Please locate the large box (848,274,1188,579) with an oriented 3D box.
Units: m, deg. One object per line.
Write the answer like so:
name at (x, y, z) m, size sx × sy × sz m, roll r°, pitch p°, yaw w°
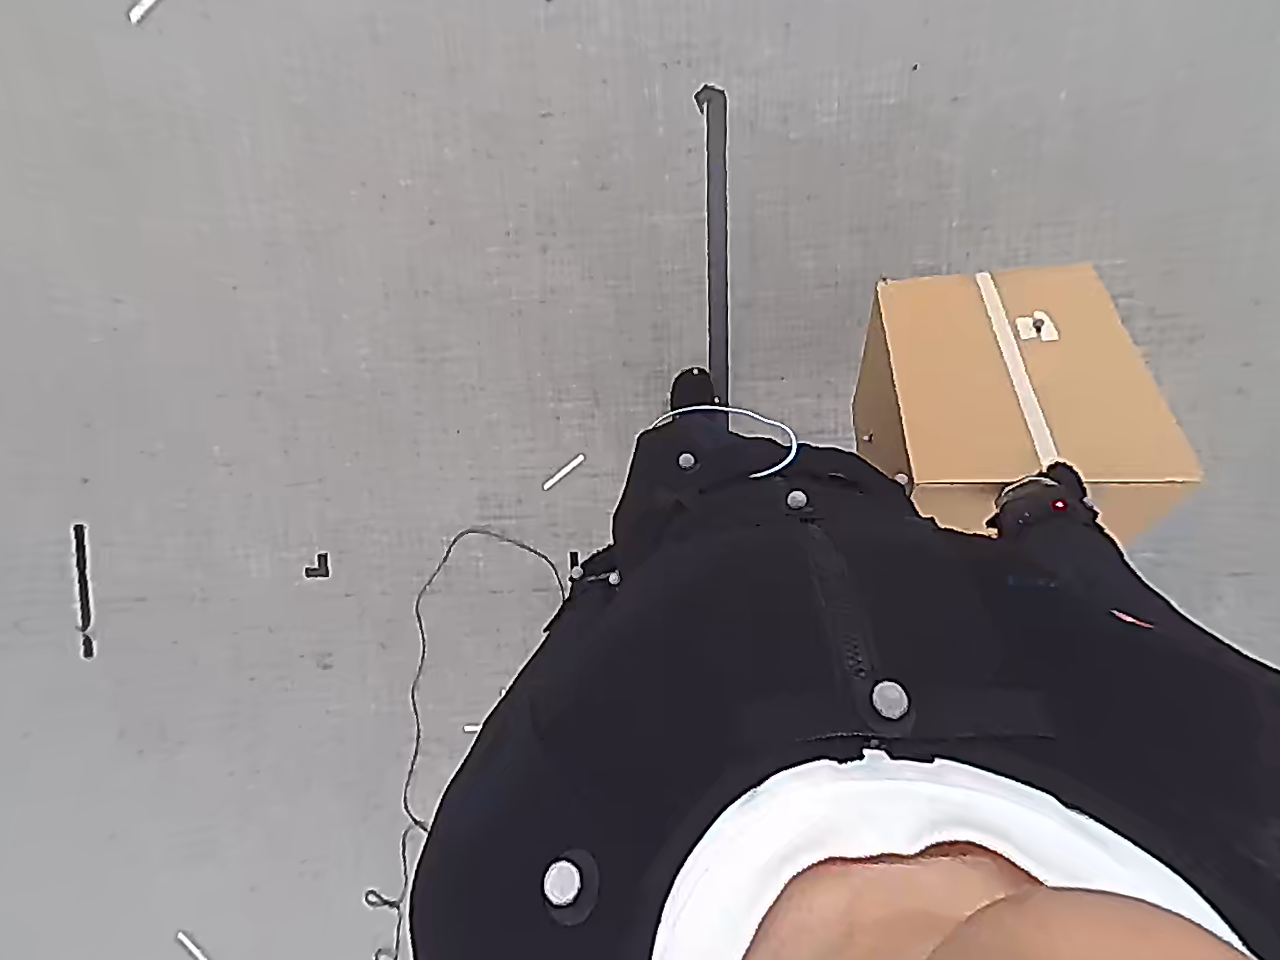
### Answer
large box at (0.548, -0.079, 0.901) m, size 0.320 × 0.320 × 0.408 m, roll 0°, pitch 55°, yaw 10°
